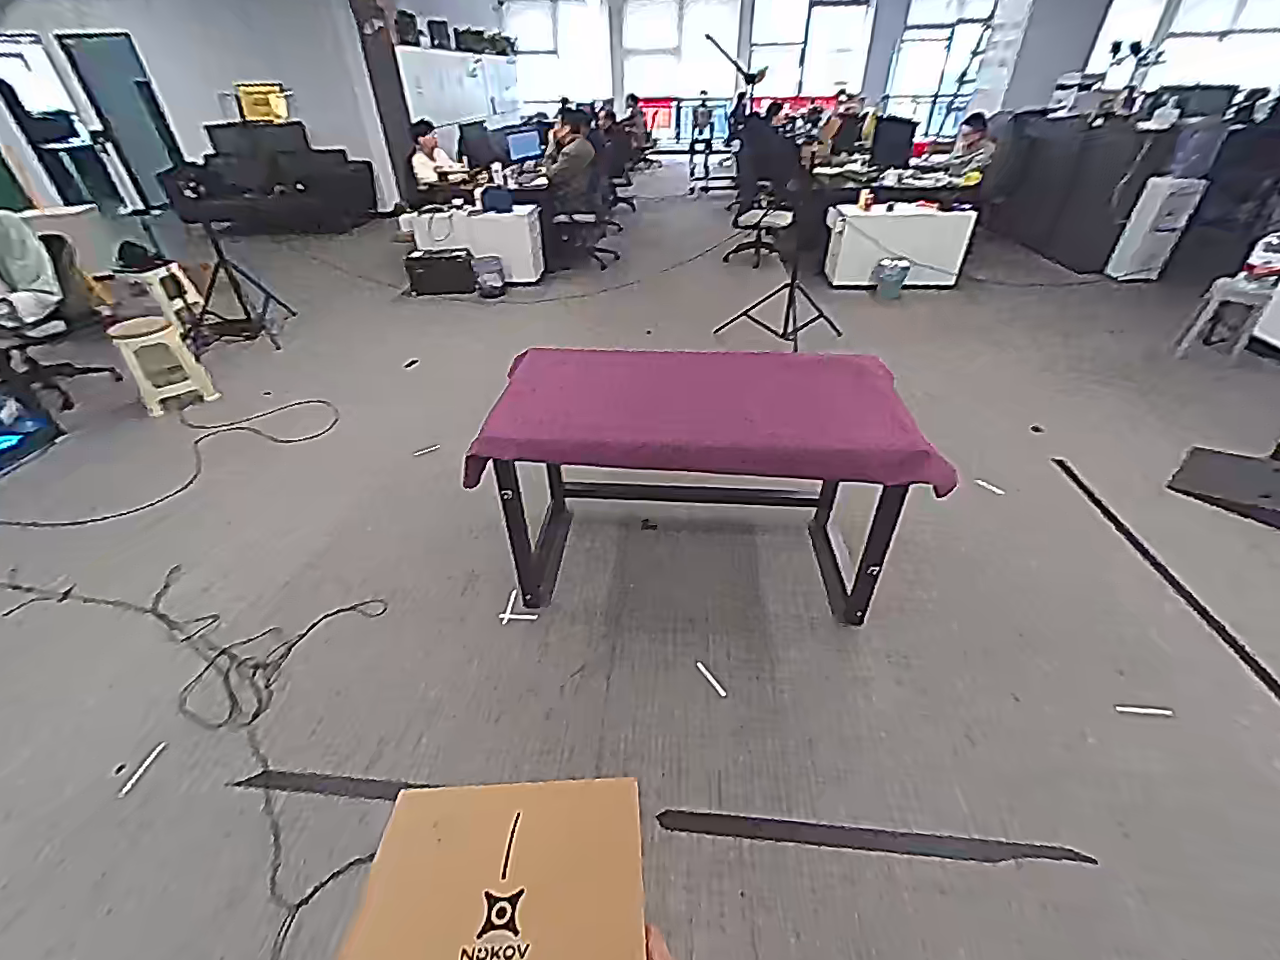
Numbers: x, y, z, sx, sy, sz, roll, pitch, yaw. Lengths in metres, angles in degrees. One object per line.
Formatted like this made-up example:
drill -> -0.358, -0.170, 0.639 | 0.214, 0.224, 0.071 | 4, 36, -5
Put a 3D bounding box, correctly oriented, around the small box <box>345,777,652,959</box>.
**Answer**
small box -> -0.074, 0.322, 0.334 | 0.168, 0.176, 0.179 | -2, 25, -2
